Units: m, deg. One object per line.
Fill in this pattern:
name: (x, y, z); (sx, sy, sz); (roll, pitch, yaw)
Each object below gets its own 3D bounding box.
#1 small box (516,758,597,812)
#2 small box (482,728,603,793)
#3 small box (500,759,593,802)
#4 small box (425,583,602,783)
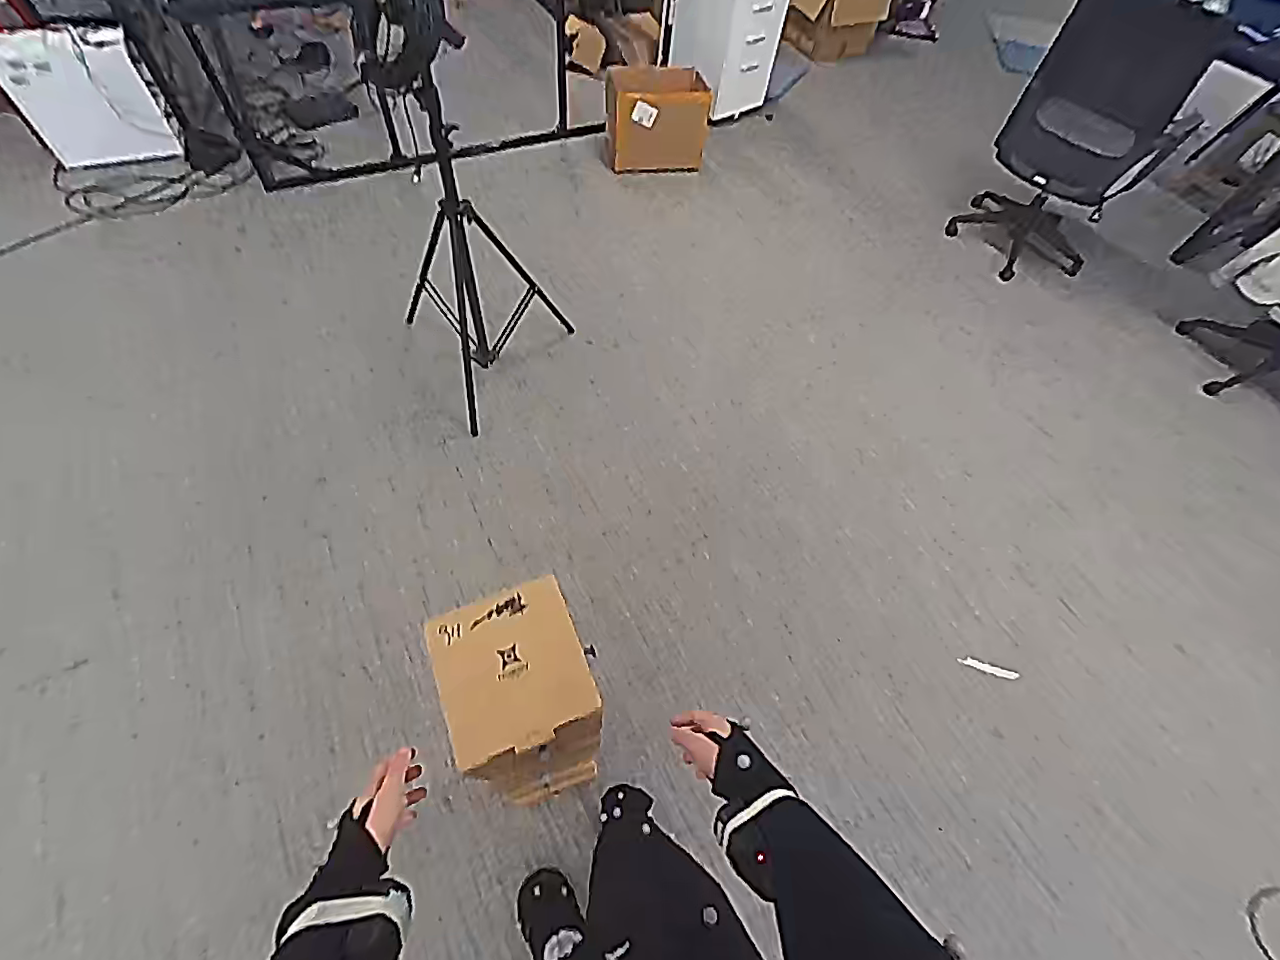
small box: (-0.206, 0.631, 1.231); (0.179, 0.176, 0.168); (-17, 61, -15)
small box: (-0.163, 0.356, 0.827); (0.168, 0.176, 0.179); (-17, 62, -14)
small box: (-0.198, 0.537, 1.096); (0.179, 0.176, 0.168); (-14, 61, -13)
small box: (-0.154, 0.262, 0.692); (0.168, 0.176, 0.179); (-19, 63, -16)
